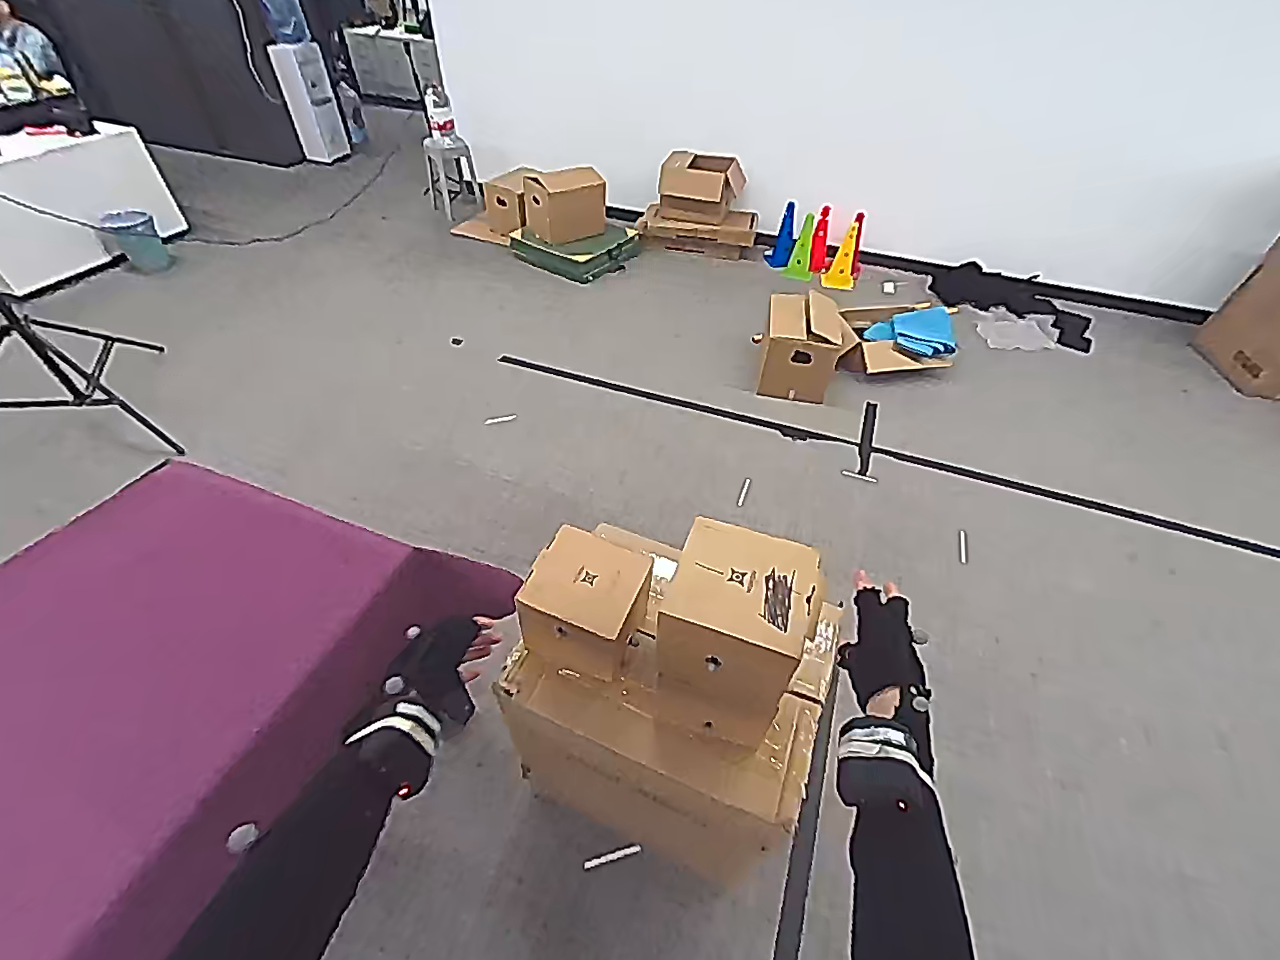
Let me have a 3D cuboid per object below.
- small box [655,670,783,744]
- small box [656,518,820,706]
[{"bbox_3d":[0.129,0.299,0.865,0.179,0.176,0.168,12,47,10],"label":"small box"},{"bbox_3d":[0.131,0.185,0.745,0.179,0.176,0.168,15,47,15],"label":"small box"}]
